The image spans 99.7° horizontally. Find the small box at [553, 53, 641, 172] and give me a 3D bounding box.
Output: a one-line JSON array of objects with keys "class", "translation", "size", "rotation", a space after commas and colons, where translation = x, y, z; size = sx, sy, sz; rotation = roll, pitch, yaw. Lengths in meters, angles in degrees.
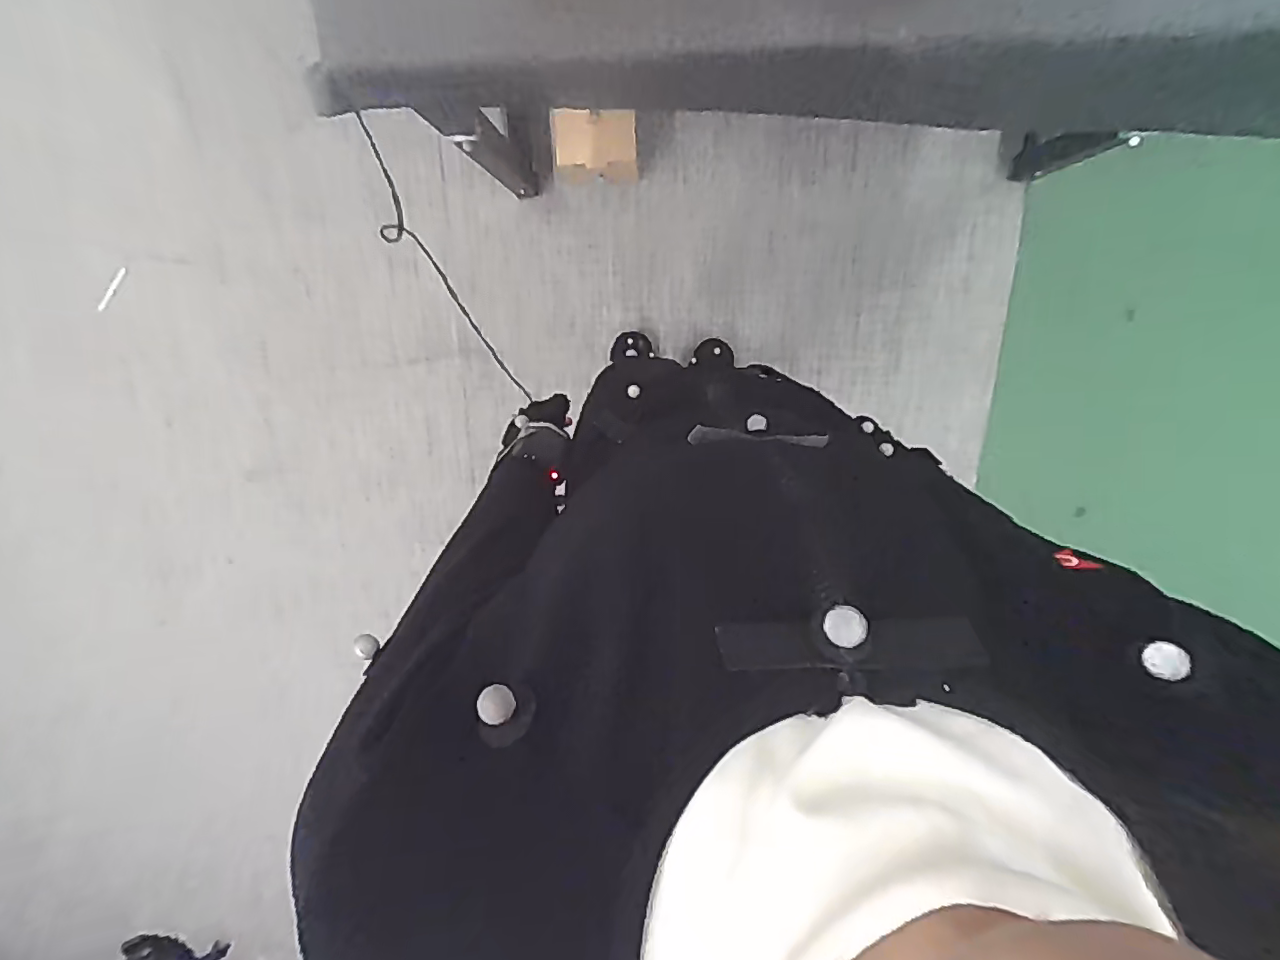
[{"class": "small box", "translation": [-0.085, -0.772, 1.156], "size": [0.168, 0.176, 0.179], "rotation": [0, 107, 3]}]
